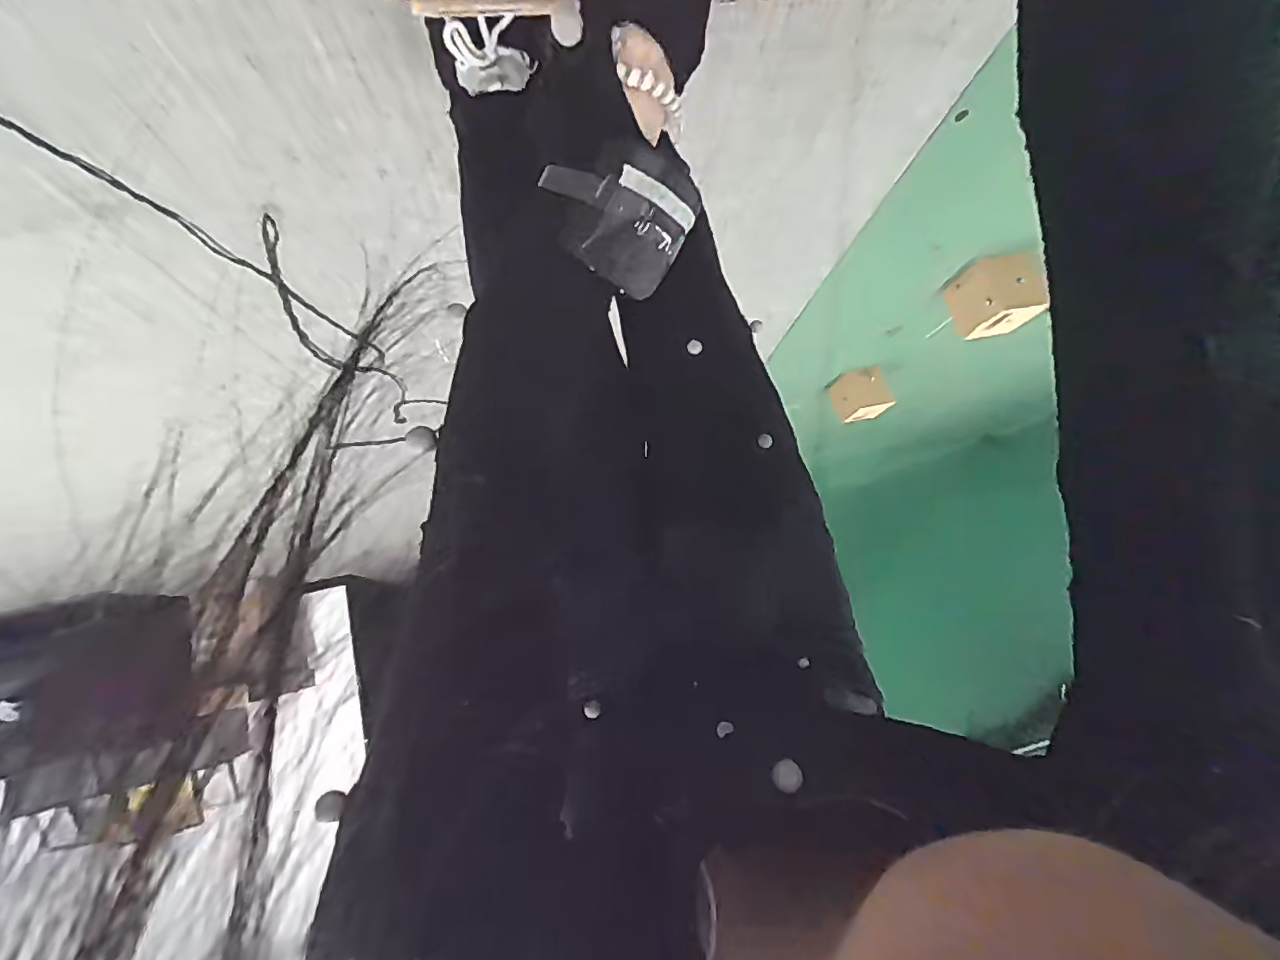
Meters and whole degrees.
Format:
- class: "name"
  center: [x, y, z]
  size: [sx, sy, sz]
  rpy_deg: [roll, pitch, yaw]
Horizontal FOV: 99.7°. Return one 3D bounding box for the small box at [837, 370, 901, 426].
- class: "small box"
  center: [0.949, -0.341, 2.258]
  size: [0.168, 0.176, 0.179]
  rpy_deg: [-12, 167, -9]
